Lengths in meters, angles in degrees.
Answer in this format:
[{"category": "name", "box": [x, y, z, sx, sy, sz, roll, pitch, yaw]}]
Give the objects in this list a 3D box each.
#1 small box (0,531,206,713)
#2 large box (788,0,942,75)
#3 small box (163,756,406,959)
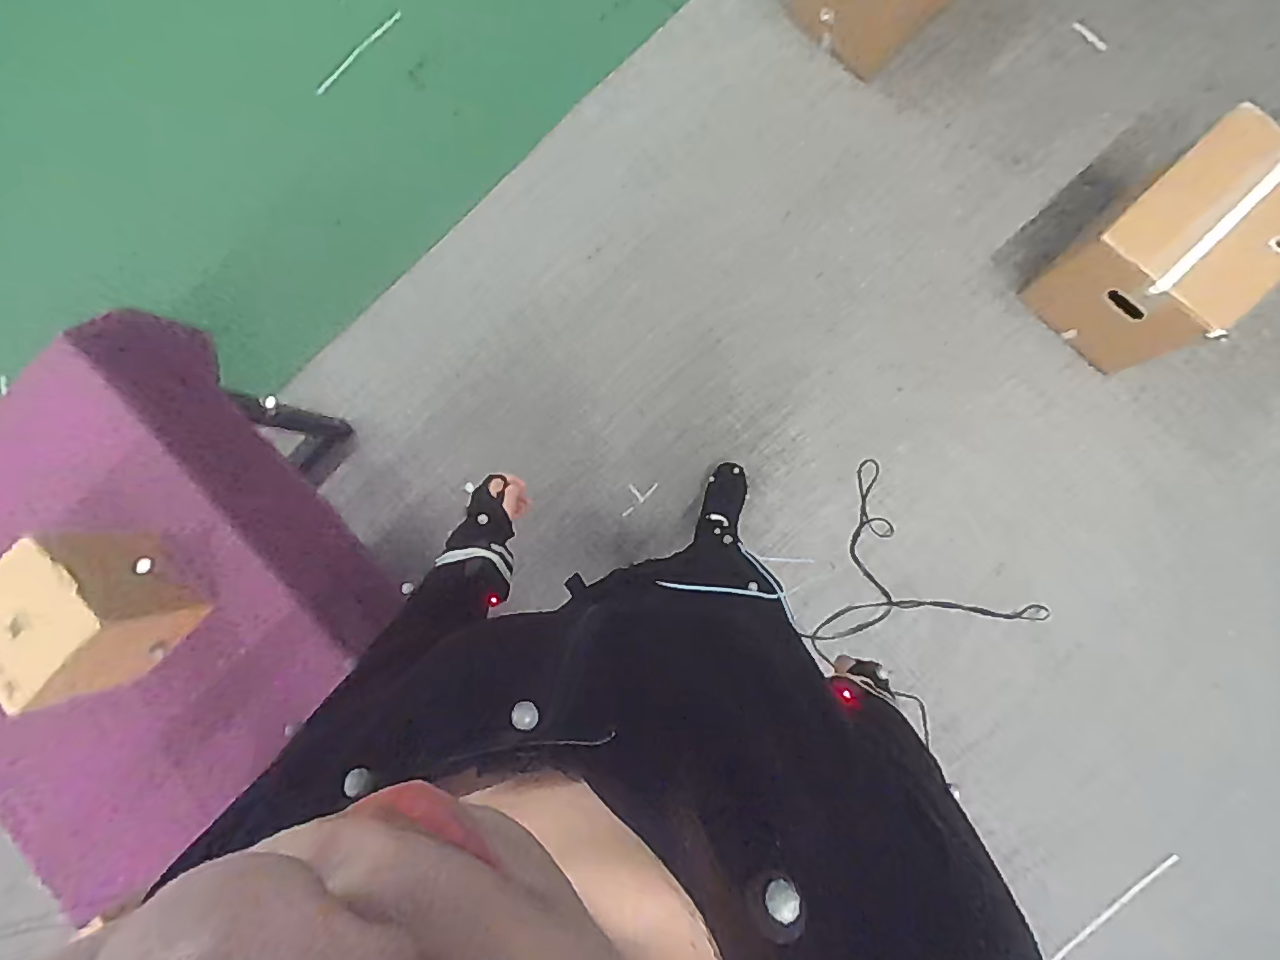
[{"category": "small box", "box": [-0.782, 0.187, 0.777, 0.179, 0.176, 0.168, -44, 83, 2]}, {"category": "large box", "box": [0.646, -1.377, 1.376, 0.408, 0.320, 0.320, -44, 84, 1]}, {"category": "small box", "box": [-0.458, 0.518, 0.725, 0.179, 0.176, 0.168, -43, 84, 2]}]
